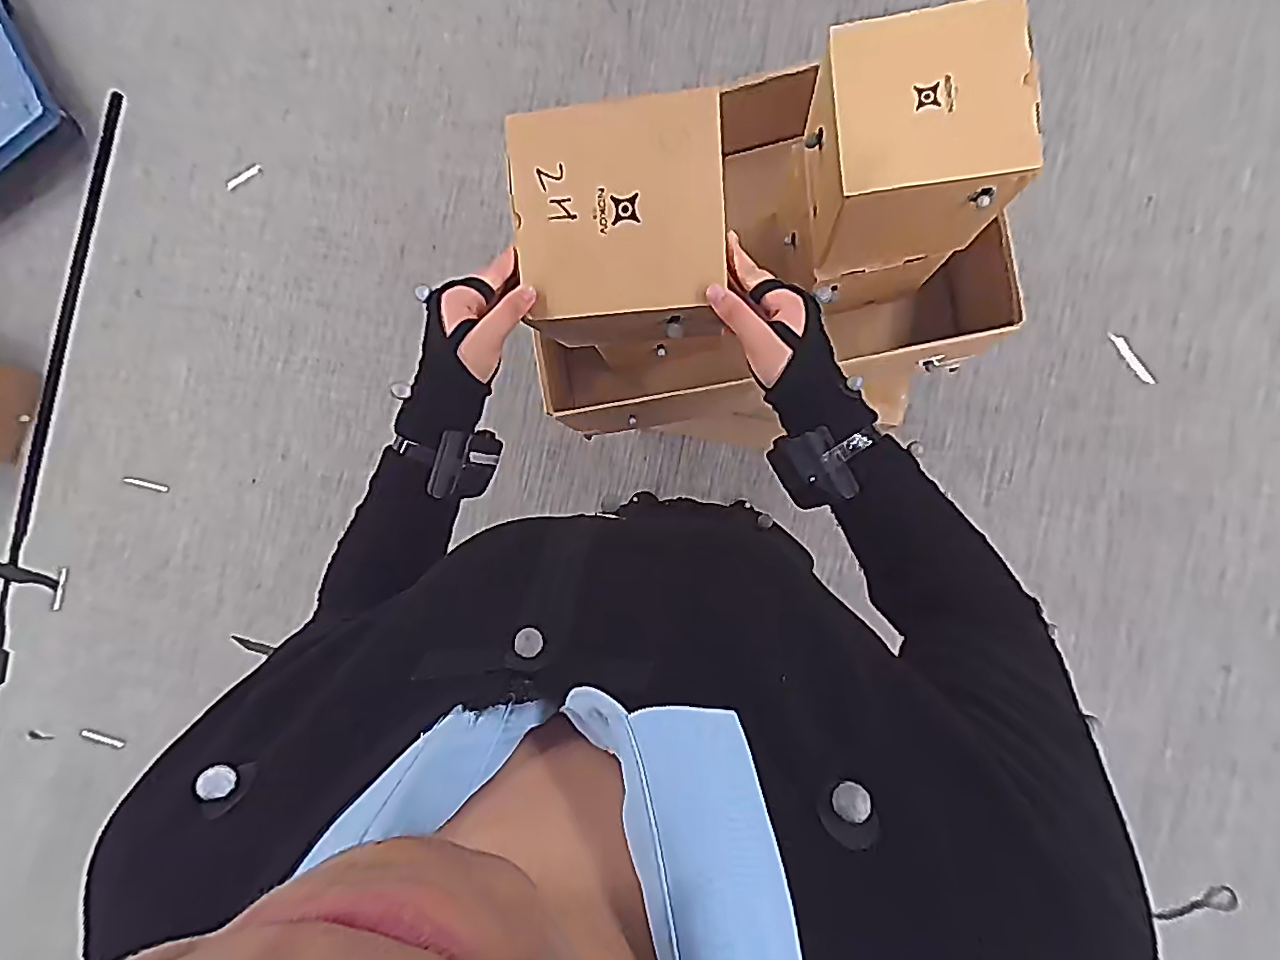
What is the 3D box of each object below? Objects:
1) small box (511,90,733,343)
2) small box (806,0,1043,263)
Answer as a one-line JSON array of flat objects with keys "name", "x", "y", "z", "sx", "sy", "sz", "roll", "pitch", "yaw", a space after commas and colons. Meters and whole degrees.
[{"name": "small box", "x": -0.007, "y": -0.229, "z": 0.516, "sx": 0.179, "sy": 0.176, "sz": 0.168, "roll": -2, "pitch": 96, "yaw": 7}, {"name": "small box", "x": 0.280, "y": -0.351, "z": 0.576, "sx": 0.179, "sy": 0.176, "sz": 0.168, "roll": -5, "pitch": 88, "yaw": 8}]
